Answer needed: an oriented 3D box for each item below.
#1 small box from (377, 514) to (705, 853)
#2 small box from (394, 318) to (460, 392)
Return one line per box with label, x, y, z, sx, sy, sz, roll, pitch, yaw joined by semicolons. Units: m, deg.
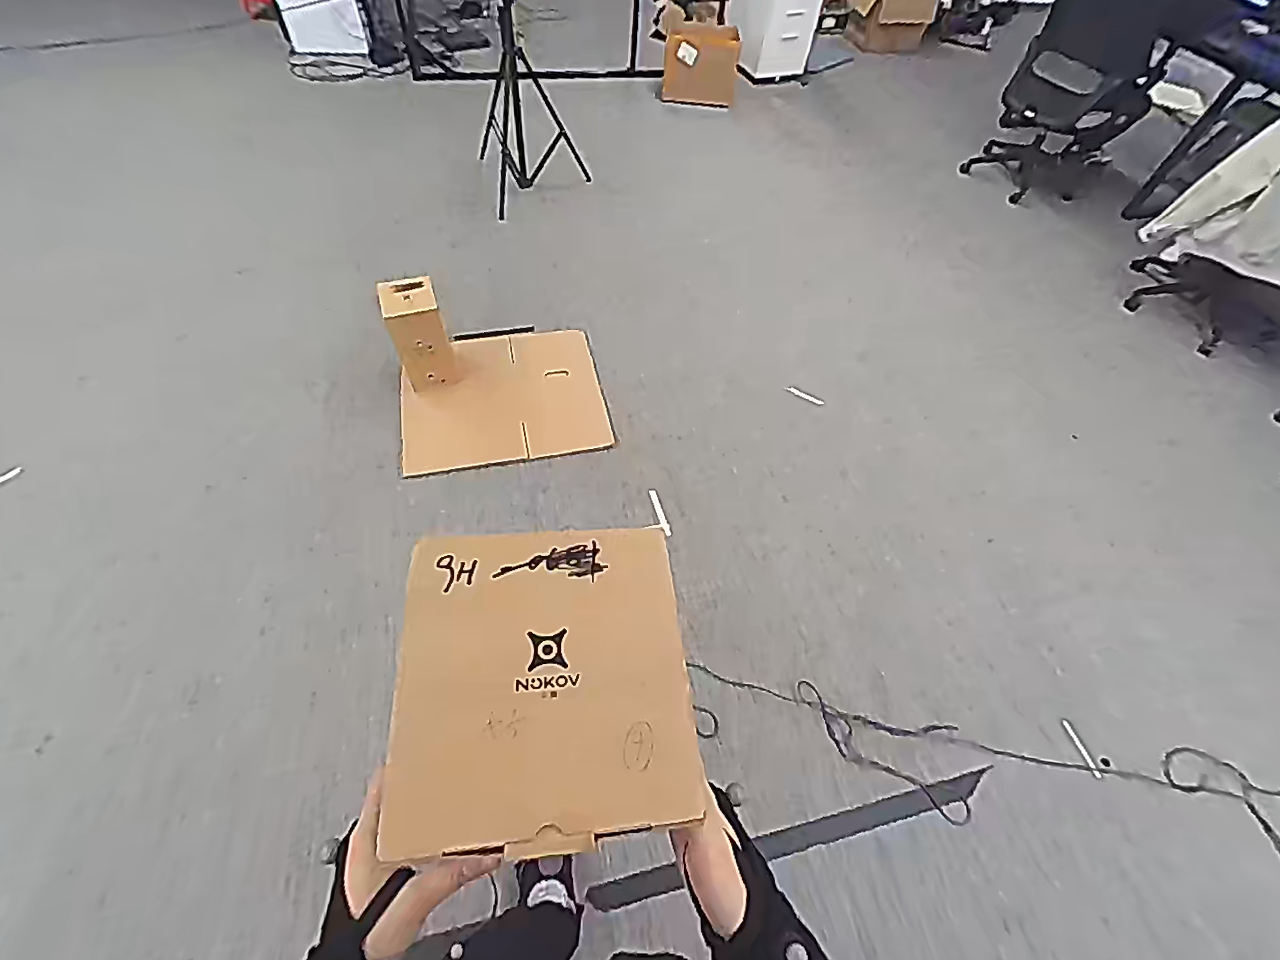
small box;-0.064;0.139;0.376;0.168;0.176;0.179;-1;59;-11
small box;-0.752;-0.440;1.913;0.168;0.176;0.179;-18;59;-16
